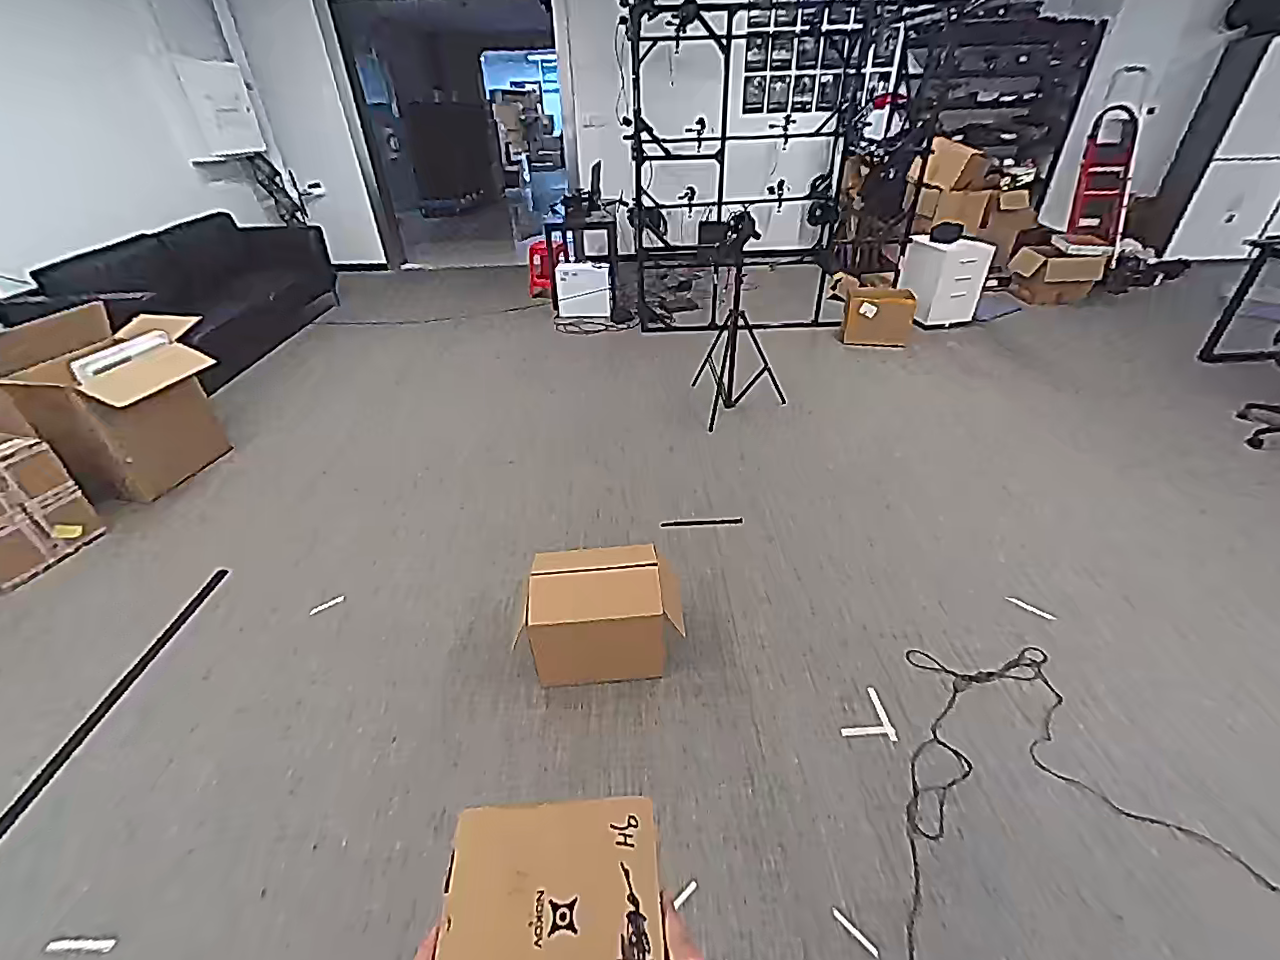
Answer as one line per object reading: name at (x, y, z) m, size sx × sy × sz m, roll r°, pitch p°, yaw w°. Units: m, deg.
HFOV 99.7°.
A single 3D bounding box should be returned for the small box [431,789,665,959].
small box at (-0.070, 0.396, 0.475) m, size 0.179 × 0.176 × 0.168 m, roll -2°, pitch 41°, yaw -4°
